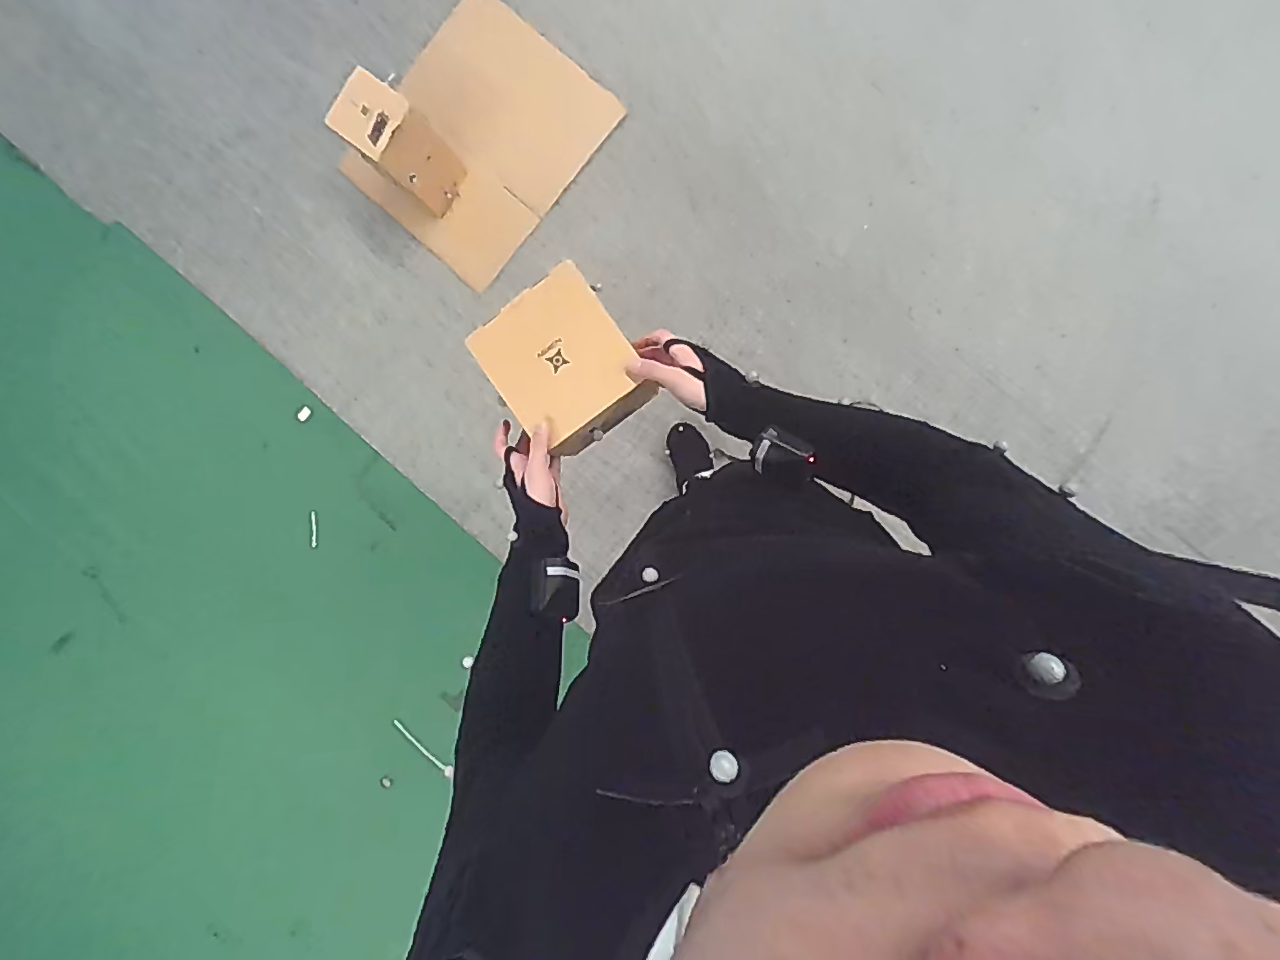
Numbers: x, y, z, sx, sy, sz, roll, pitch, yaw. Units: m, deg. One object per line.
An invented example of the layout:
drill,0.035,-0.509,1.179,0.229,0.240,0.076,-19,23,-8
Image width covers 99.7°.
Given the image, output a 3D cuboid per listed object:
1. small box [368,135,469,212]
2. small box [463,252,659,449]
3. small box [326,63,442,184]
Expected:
small box,-0.632,-0.911,1.557,0.179,0.176,0.168,34,96,3
small box,-0.090,-0.157,0.718,0.168,0.176,0.179,-36,87,7
small box,-0.650,-0.903,1.395,0.179,0.176,0.168,38,96,4
